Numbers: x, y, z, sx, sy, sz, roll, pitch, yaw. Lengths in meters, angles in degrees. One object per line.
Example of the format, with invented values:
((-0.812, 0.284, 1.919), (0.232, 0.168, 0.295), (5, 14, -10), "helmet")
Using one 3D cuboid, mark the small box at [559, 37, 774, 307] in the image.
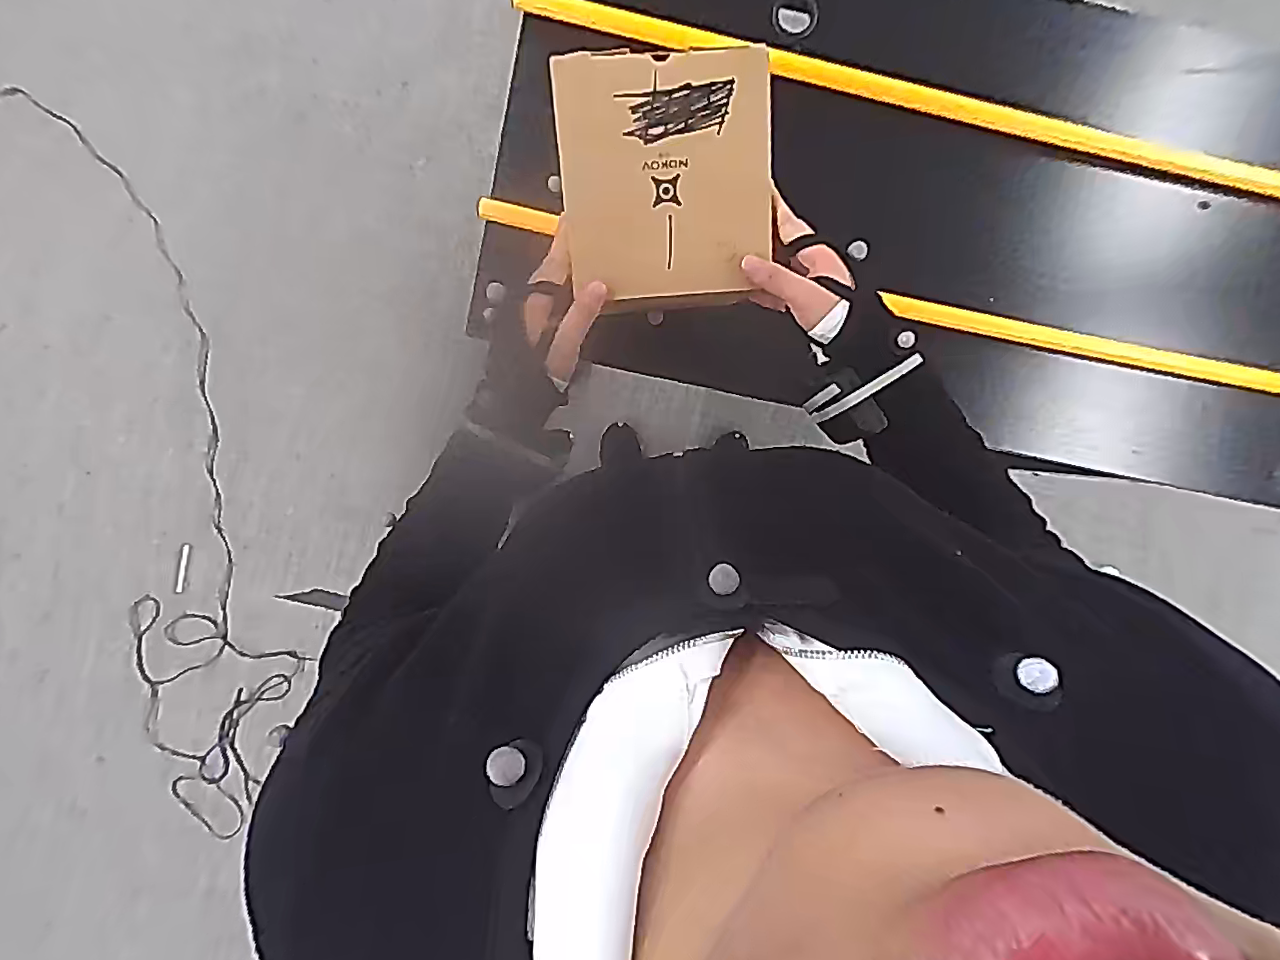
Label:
((0.019, -0.262, 0.501), (0.168, 0.176, 0.179), (-5, 104, -2), "small box")
